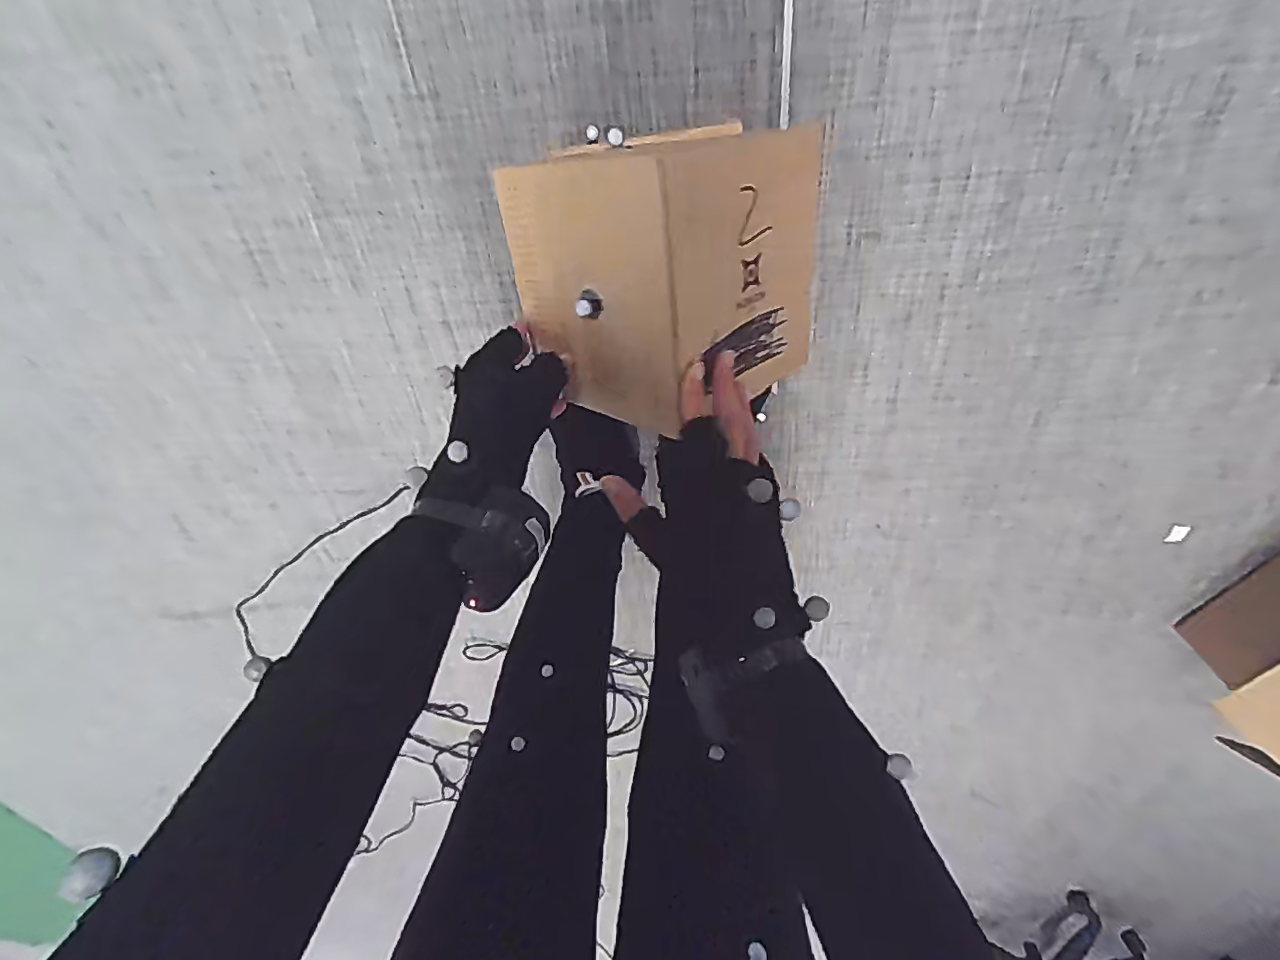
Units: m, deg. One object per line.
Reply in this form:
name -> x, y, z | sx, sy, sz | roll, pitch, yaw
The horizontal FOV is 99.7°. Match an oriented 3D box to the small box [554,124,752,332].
small box -> 0.023, -0.275, 0.585 | 0.179, 0.176, 0.168 | -4, 123, 9
